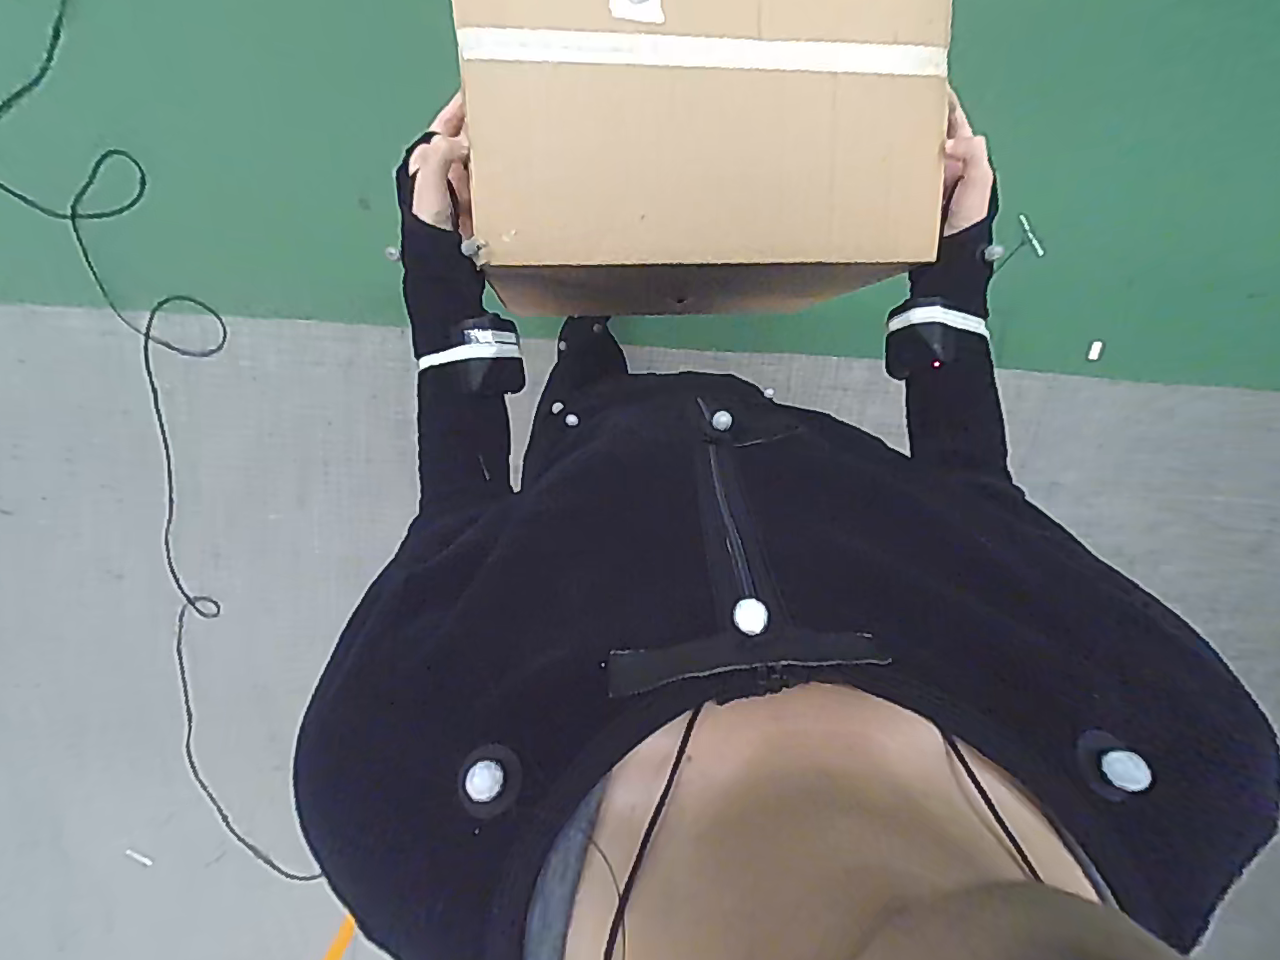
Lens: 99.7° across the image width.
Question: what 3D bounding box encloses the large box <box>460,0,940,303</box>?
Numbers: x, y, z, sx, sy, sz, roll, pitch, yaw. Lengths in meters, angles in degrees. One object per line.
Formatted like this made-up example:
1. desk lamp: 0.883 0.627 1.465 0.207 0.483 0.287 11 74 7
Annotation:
1. large box: 0.042 -0.377 0.591 0.408 0.320 0.320 -3 100 -6
